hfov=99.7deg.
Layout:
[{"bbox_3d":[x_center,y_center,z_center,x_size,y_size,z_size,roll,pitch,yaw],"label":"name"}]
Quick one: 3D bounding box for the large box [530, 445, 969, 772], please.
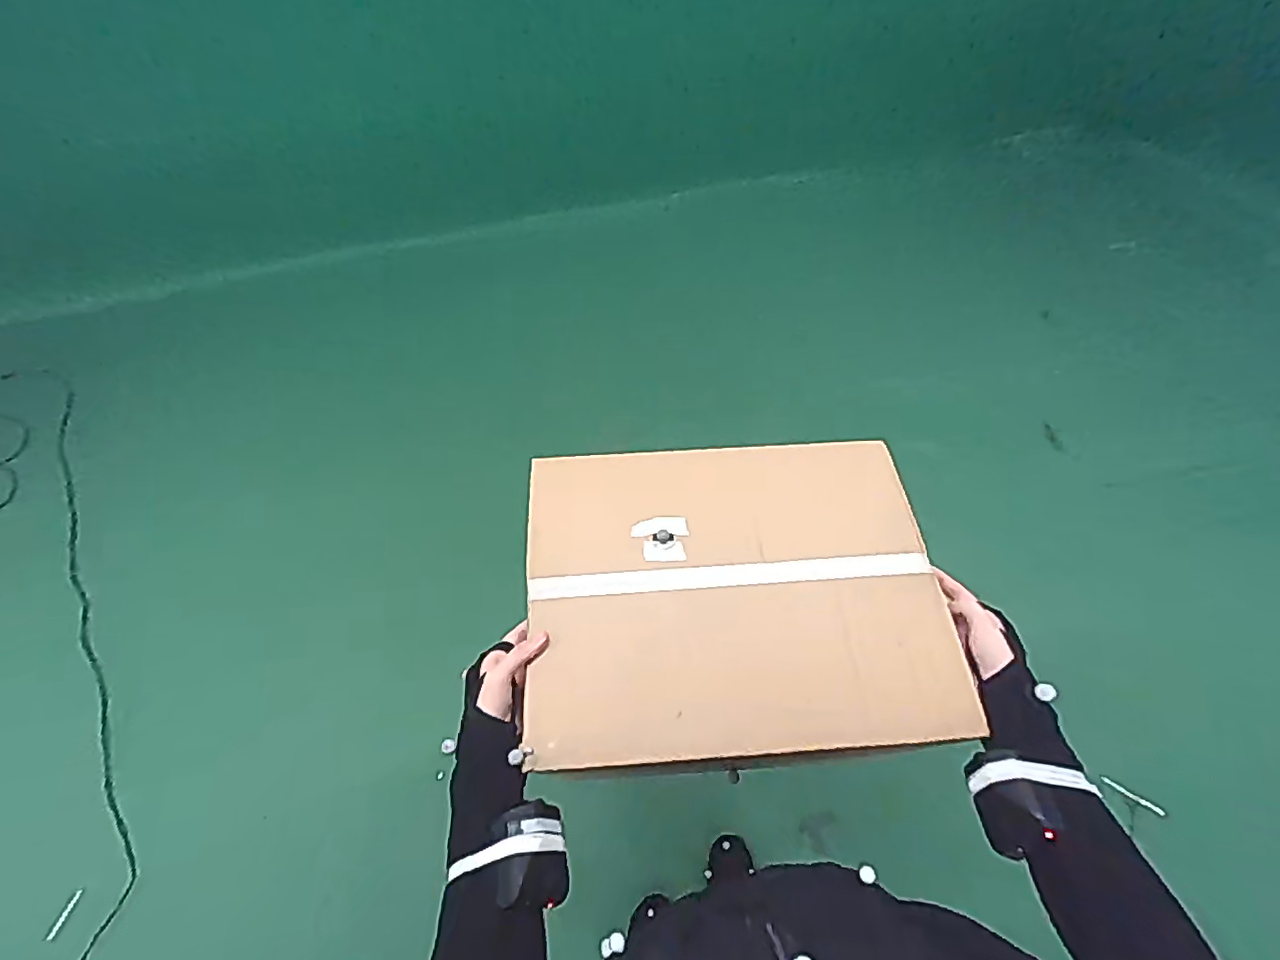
[{"bbox_3d":[0.094,0.178,0.682,0.408,0.320,0.320,-3,59,-1],"label":"large box"}]
